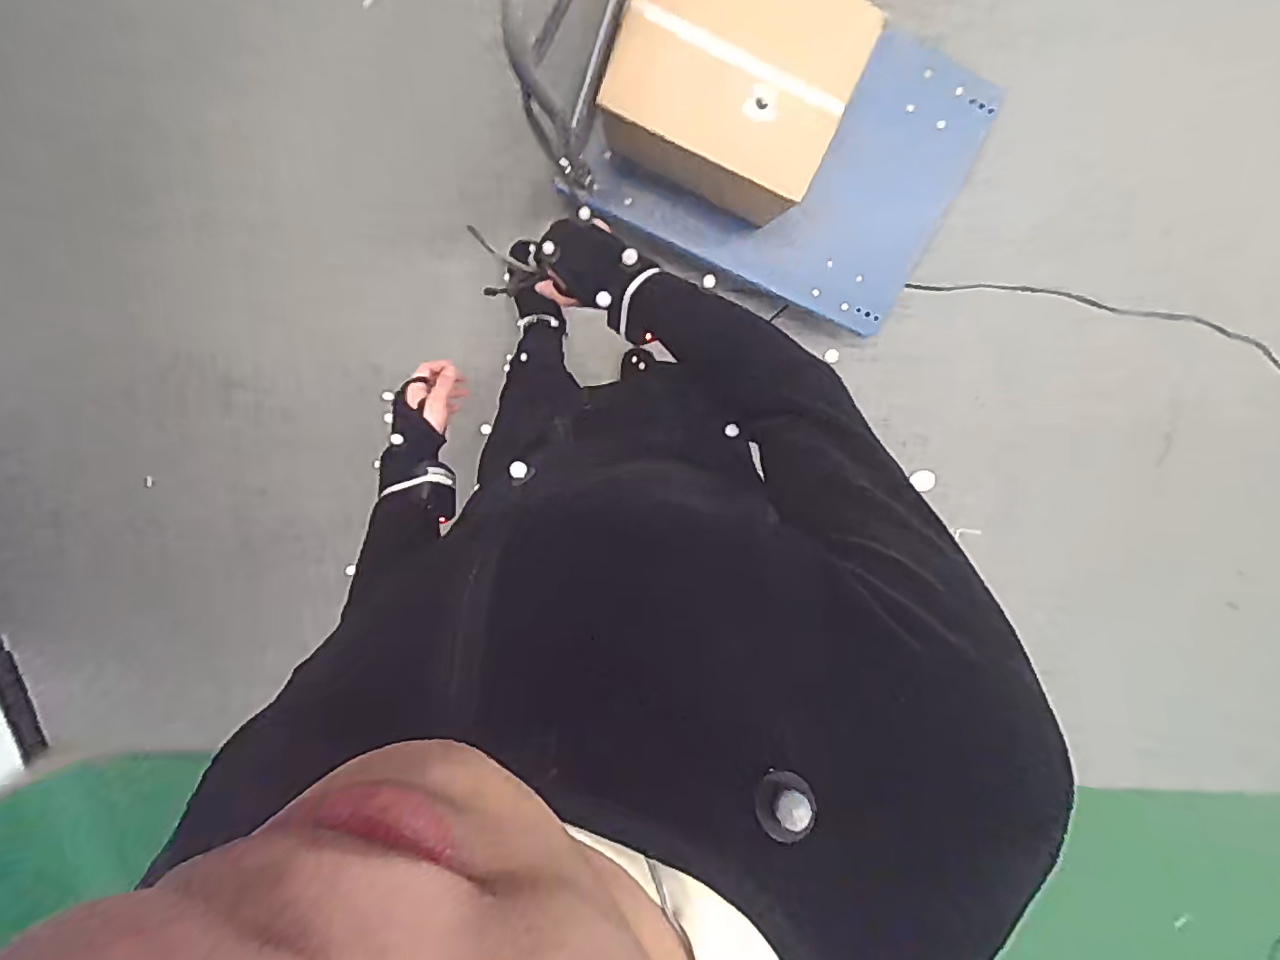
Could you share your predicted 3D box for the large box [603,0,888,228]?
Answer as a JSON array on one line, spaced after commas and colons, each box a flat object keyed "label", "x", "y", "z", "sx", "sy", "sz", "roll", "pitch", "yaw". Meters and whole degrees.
[{"label": "large box", "x": 0.172, "y": -0.746, "z": 1.056, "sx": 0.408, "sy": 0.320, "sz": 0.320, "roll": 23, "pitch": 107, "yaw": -7}]
